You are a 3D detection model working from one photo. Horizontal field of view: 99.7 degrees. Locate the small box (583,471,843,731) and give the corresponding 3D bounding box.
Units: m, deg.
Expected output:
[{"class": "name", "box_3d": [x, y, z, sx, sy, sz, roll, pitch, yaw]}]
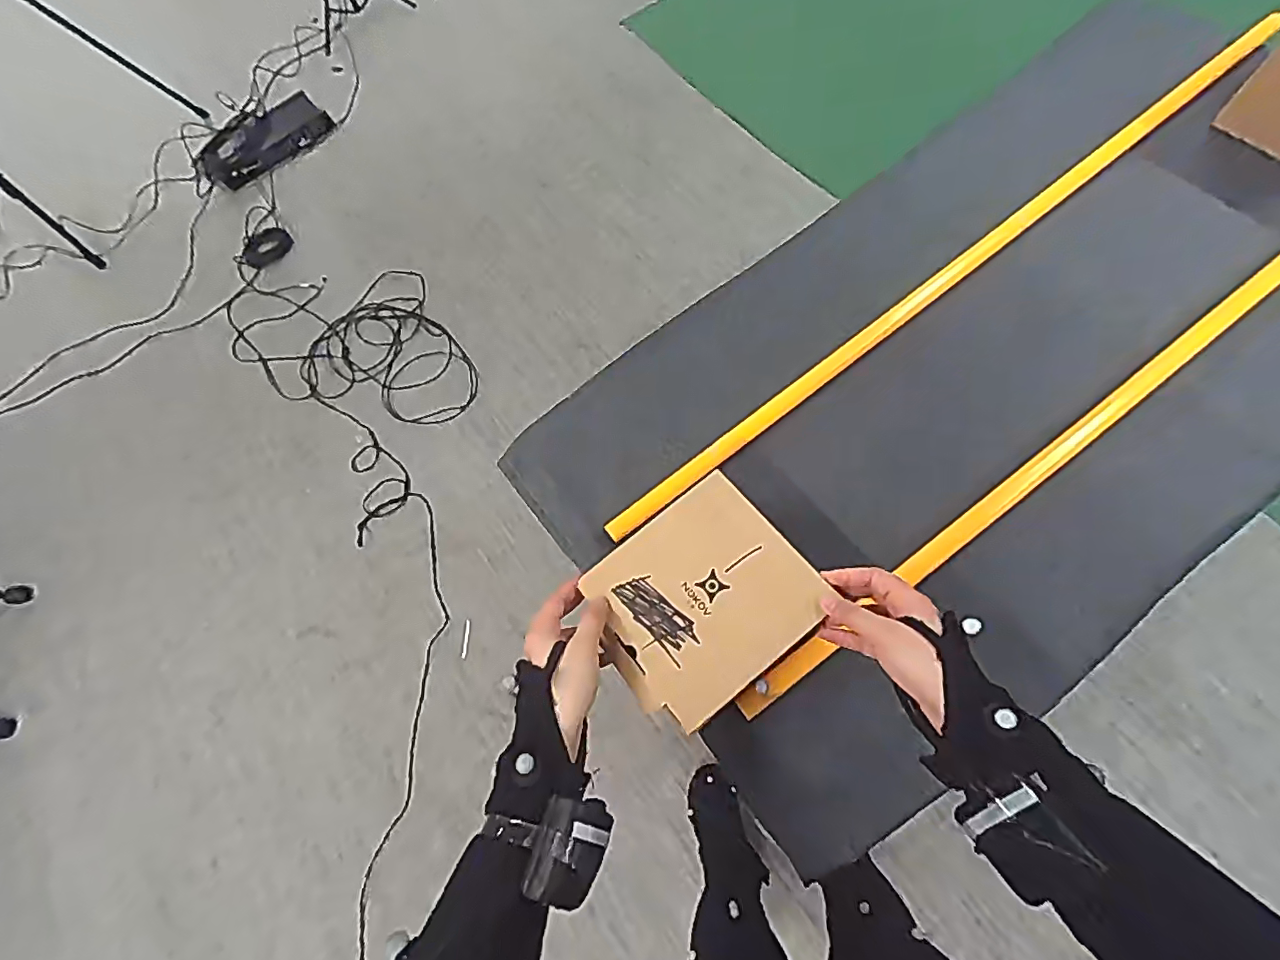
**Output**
[{"class": "small box", "box_3d": [0.073, 0.128, 0.553, 0.179, 0.176, 0.168, -39, 68, -7]}]
